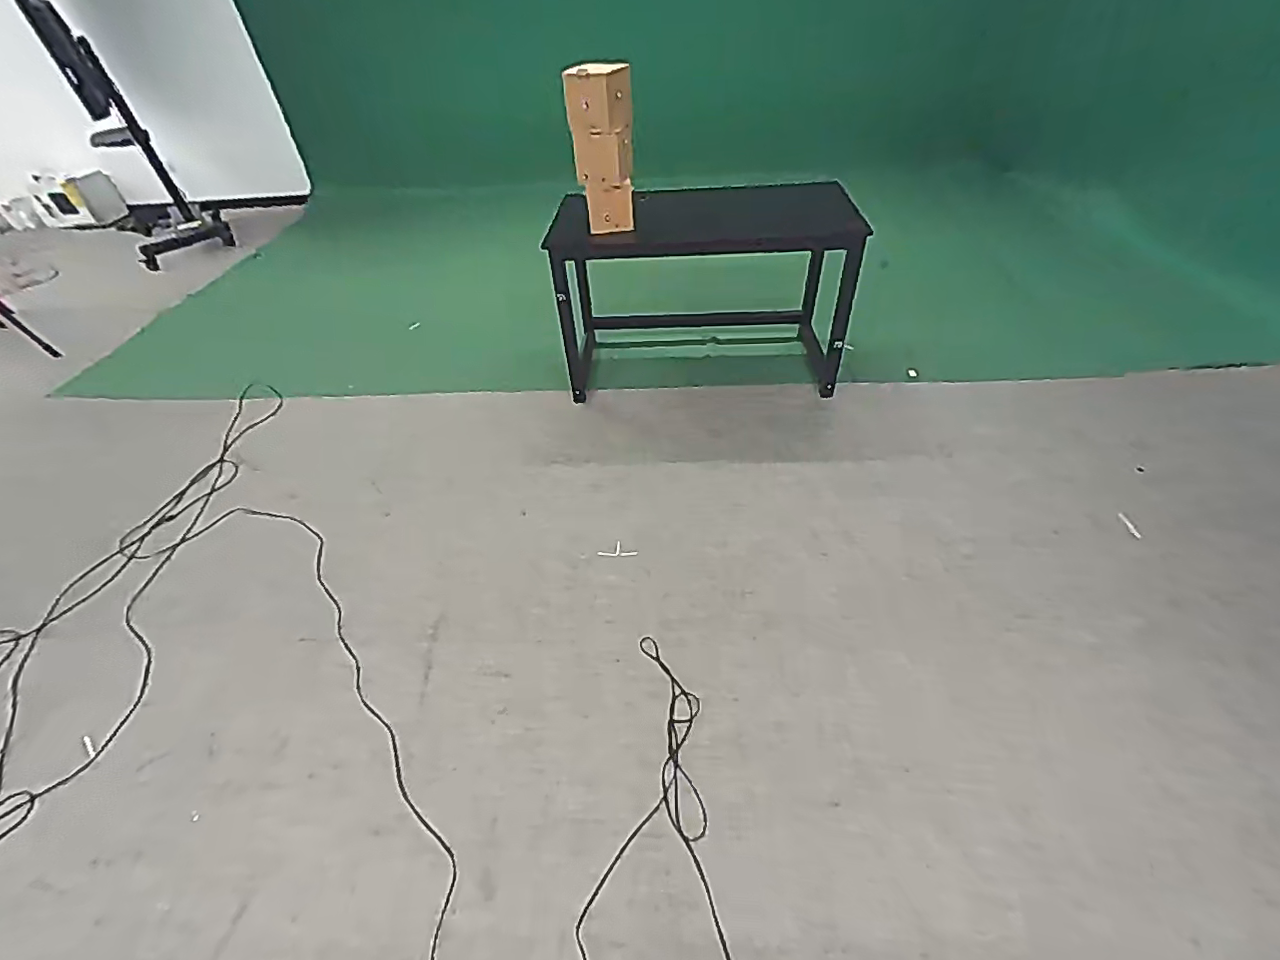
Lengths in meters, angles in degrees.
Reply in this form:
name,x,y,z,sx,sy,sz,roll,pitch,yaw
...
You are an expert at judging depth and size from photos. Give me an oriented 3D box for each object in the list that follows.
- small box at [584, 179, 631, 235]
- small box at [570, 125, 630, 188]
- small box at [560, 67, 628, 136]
name,x,y,z,sx,sy,sz,roll,pitch,yaw
small box,-0.126,-1.061,2.082,0.168,0.176,0.179,-6,45,-2
small box,-0.139,-1.179,1.968,0.168,0.176,0.179,9,45,13
small box,-0.150,-1.302,1.859,0.168,0.176,0.179,17,49,20
